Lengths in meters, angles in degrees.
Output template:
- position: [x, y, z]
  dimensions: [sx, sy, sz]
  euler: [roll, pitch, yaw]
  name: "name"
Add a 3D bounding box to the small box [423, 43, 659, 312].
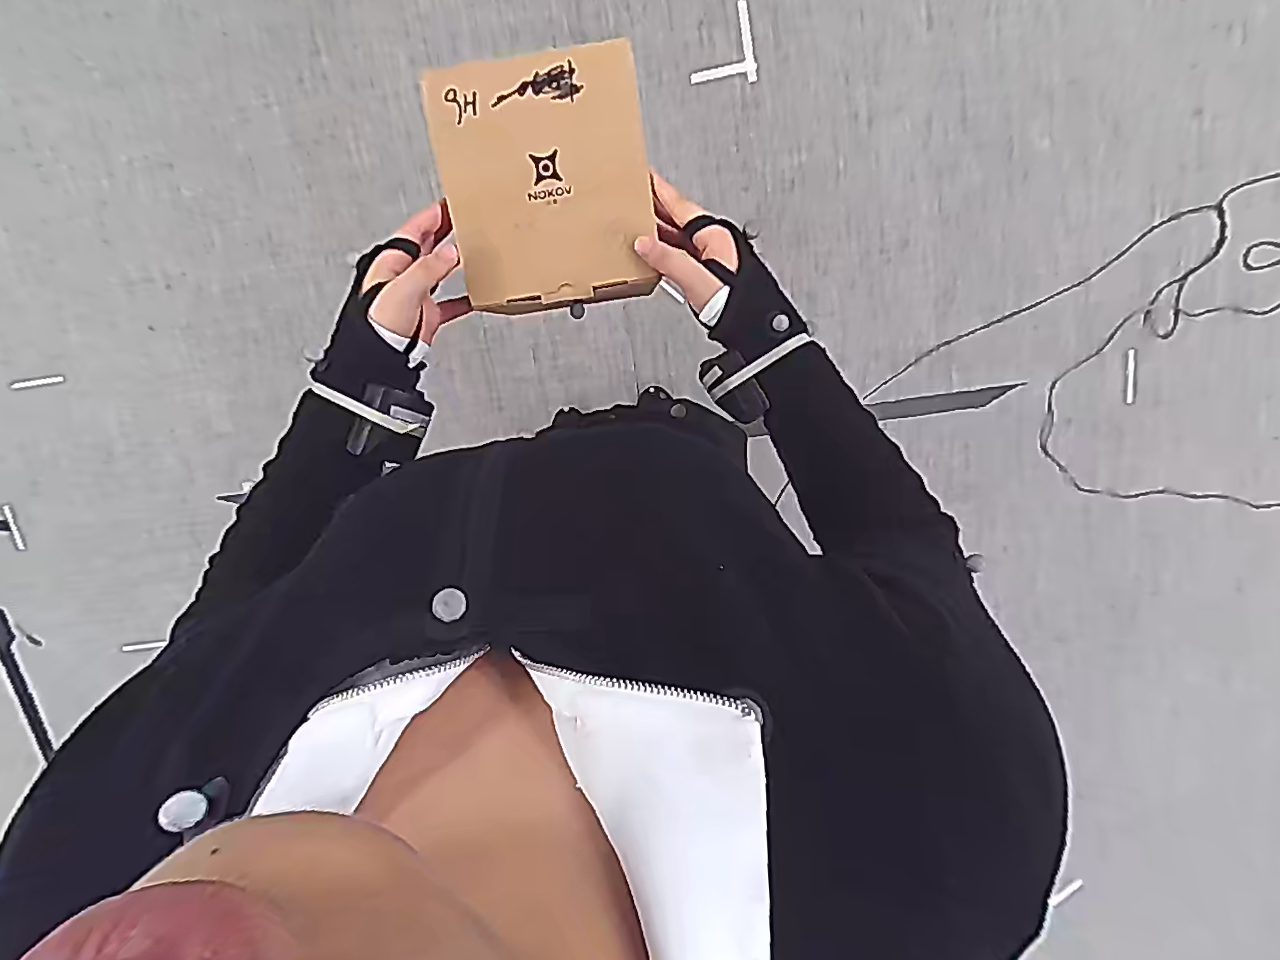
- position: [-0.075, -0.260, 0.511]
  dimensions: [0.168, 0.176, 0.179]
  euler: [-9, 106, 1]
  name: "small box"
